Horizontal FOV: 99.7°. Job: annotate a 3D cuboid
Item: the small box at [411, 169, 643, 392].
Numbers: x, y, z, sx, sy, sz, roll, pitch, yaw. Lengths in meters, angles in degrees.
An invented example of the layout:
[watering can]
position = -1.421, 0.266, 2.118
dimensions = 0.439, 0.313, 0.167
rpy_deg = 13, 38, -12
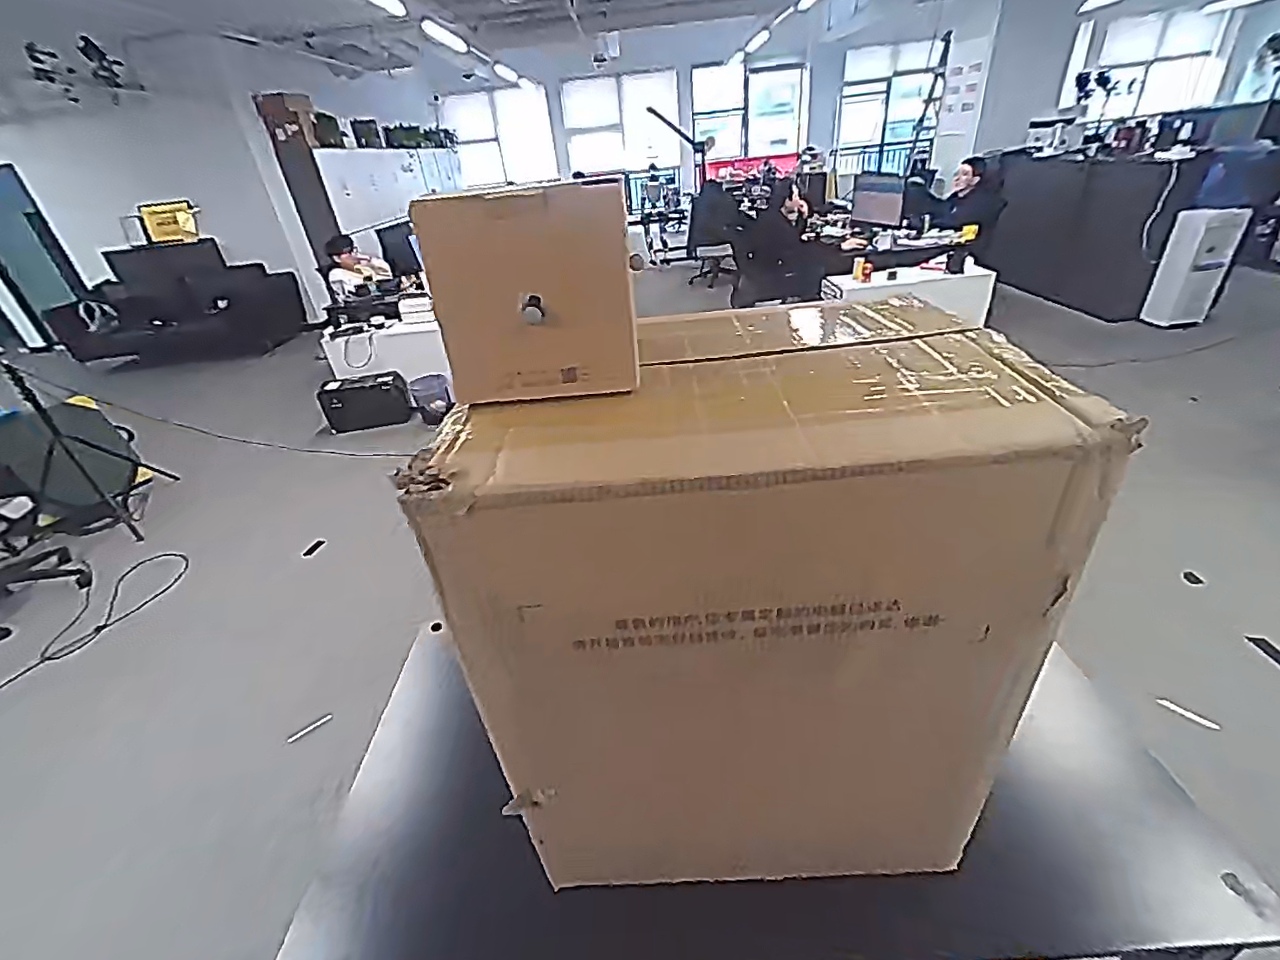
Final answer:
[small box]
position = -0.086, -0.188, 0.514
dimensions = 0.168, 0.176, 0.179
rpy_deg = -5, 31, 1
